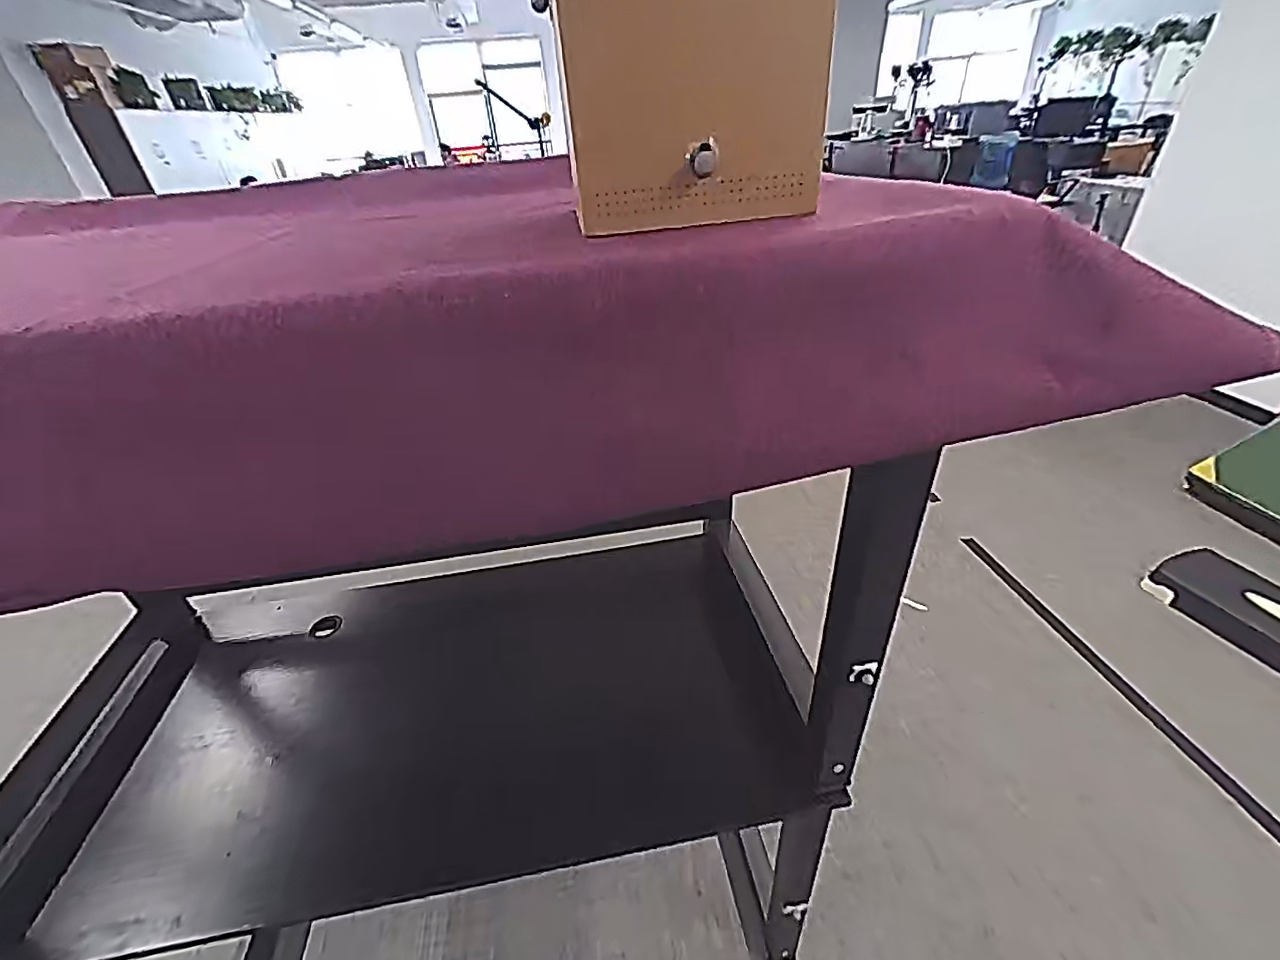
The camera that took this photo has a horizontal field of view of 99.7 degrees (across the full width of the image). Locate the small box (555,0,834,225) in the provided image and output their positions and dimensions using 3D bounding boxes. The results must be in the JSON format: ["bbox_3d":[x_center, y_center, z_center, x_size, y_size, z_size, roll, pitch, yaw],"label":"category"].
[{"bbox_3d":[0.031,-0.302,0.410,0.179,0.176,0.168,-8,33,-4],"label":"small box"}]
